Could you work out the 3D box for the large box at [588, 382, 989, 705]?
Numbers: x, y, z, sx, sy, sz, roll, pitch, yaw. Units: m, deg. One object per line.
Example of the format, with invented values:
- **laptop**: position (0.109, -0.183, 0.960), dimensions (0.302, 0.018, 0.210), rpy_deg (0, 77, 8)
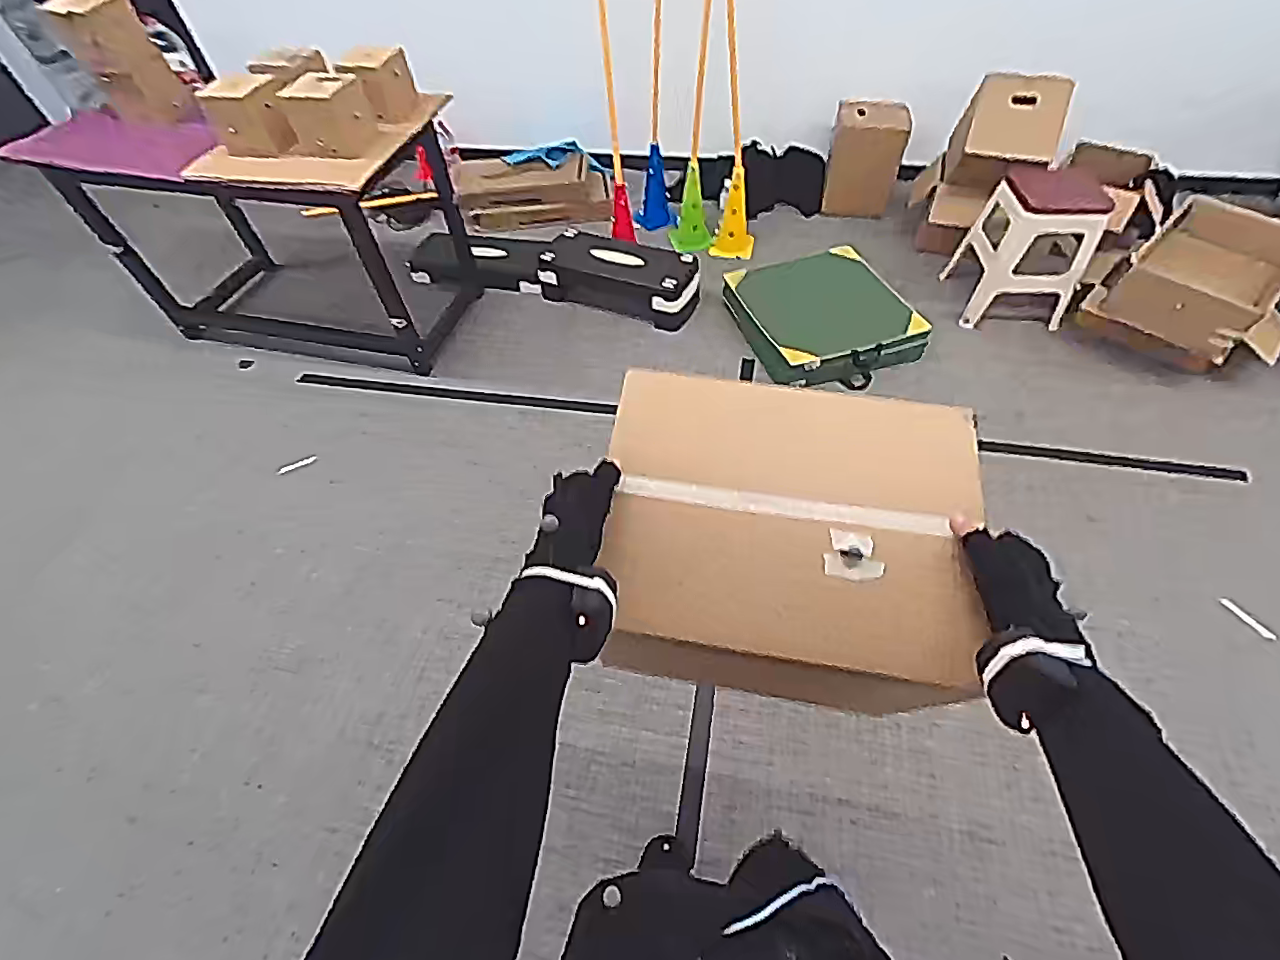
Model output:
- **large box**: position (0.165, 0.100, 0.731), dimensions (0.408, 0.320, 0.320), rpy_deg (8, 65, 6)
